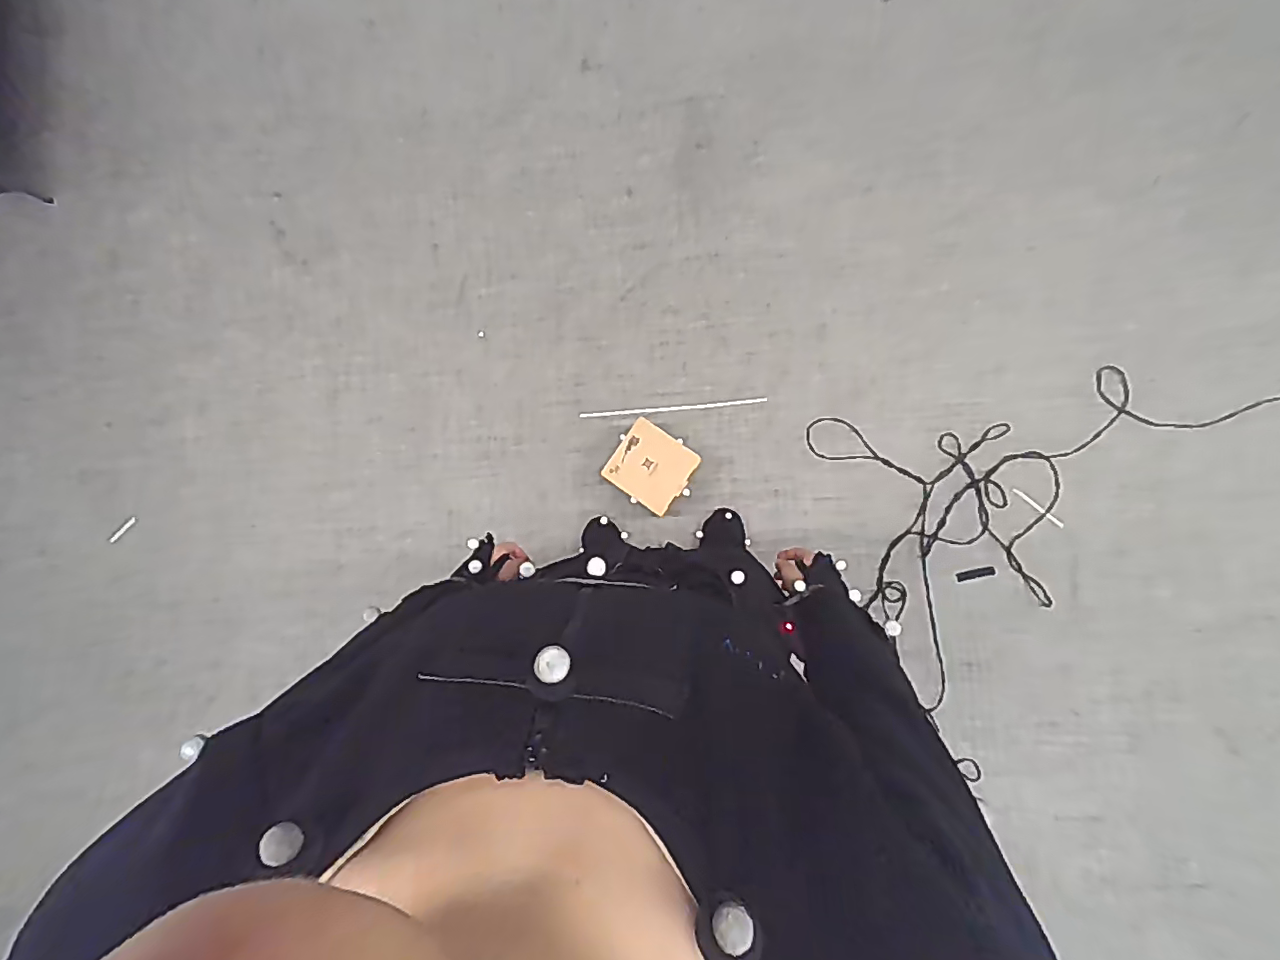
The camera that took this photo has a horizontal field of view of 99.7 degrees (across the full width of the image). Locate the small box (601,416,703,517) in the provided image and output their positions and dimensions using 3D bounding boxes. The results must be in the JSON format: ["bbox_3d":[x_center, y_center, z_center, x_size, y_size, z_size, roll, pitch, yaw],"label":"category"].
[{"bbox_3d":[0.033,-0.029,1.295,0.179,0.176,0.168,35,91,6],"label":"small box"}]
